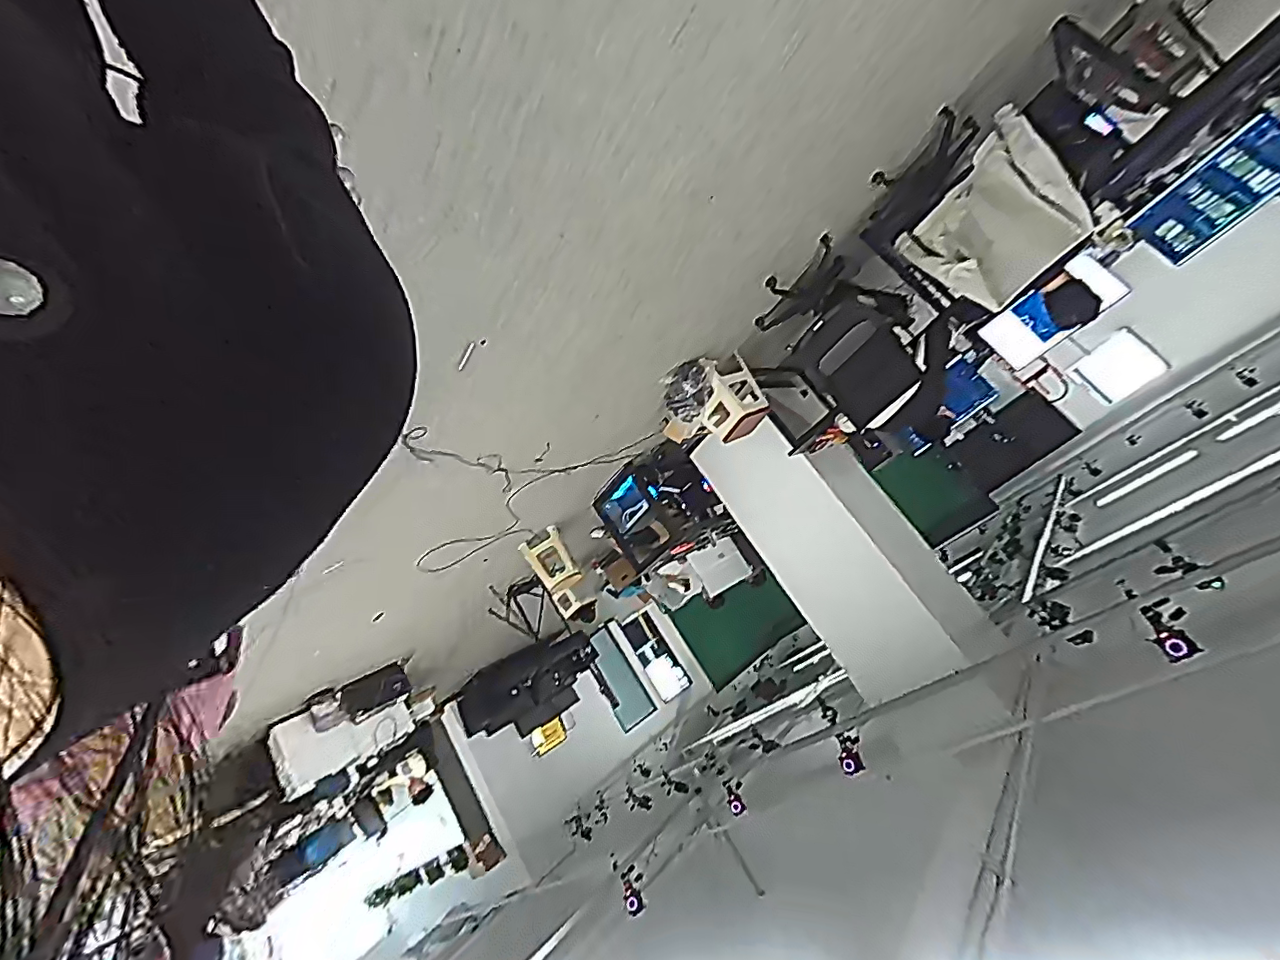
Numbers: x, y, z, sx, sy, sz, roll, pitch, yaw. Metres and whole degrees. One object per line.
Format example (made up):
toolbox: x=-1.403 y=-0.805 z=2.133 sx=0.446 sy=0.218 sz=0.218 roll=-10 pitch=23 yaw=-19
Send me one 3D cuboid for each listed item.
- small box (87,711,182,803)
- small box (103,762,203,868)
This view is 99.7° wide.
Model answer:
small box: x=-1.415 y=0.780 z=1.518 sx=0.168 sy=0.176 sz=0.179 roll=-16 pitch=156 yaw=-47
small box: x=-1.327 y=0.909 z=1.474 sx=0.179 sy=0.176 sz=0.168 roll=-17 pitch=158 yaw=-46
